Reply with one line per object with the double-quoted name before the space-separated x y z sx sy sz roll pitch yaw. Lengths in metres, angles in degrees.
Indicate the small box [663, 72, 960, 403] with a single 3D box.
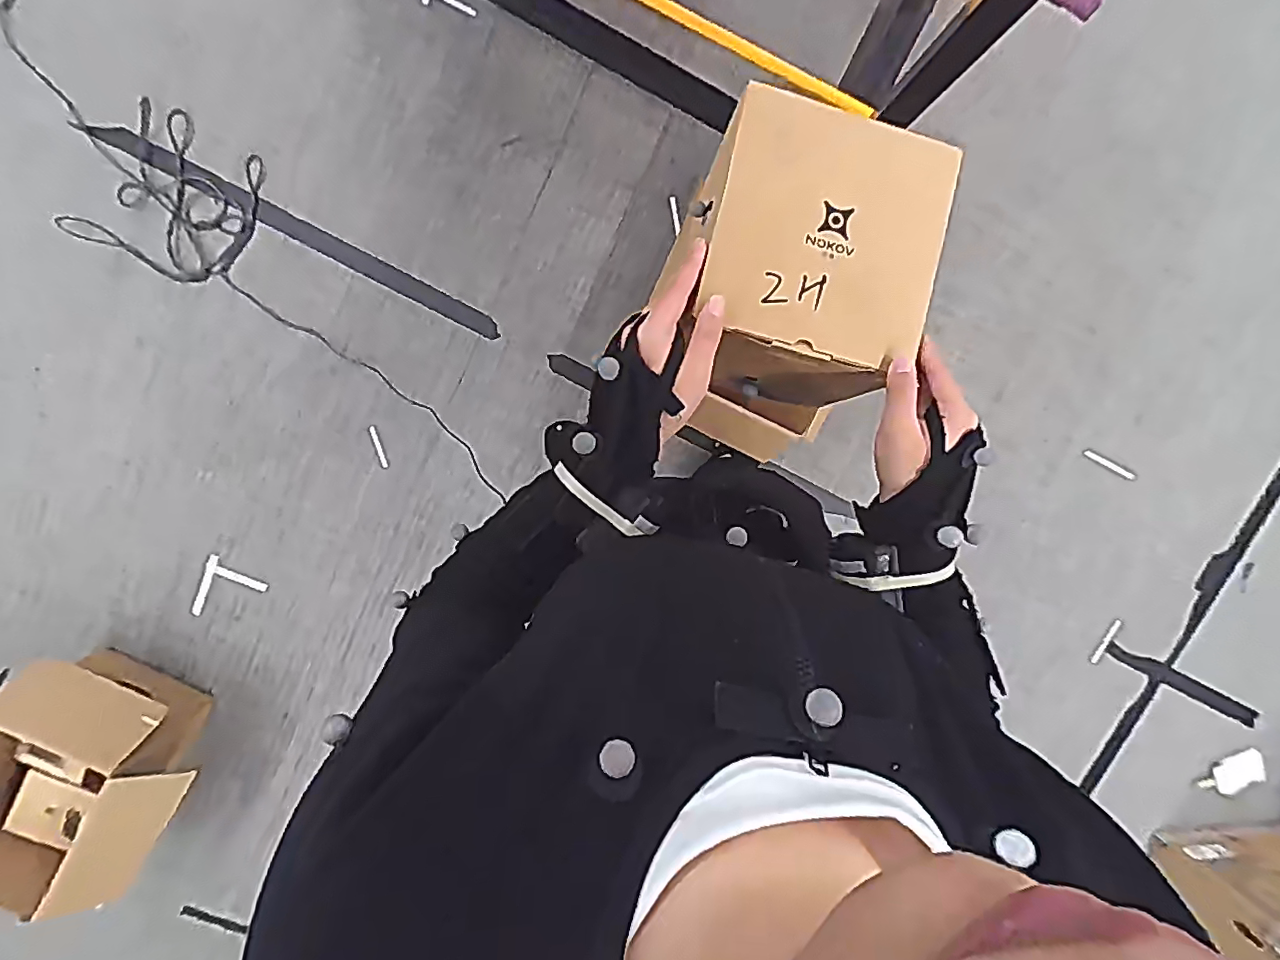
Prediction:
"small box" 0.124 -0.178 0.456 0.168 0.176 0.179 14 88 -6
